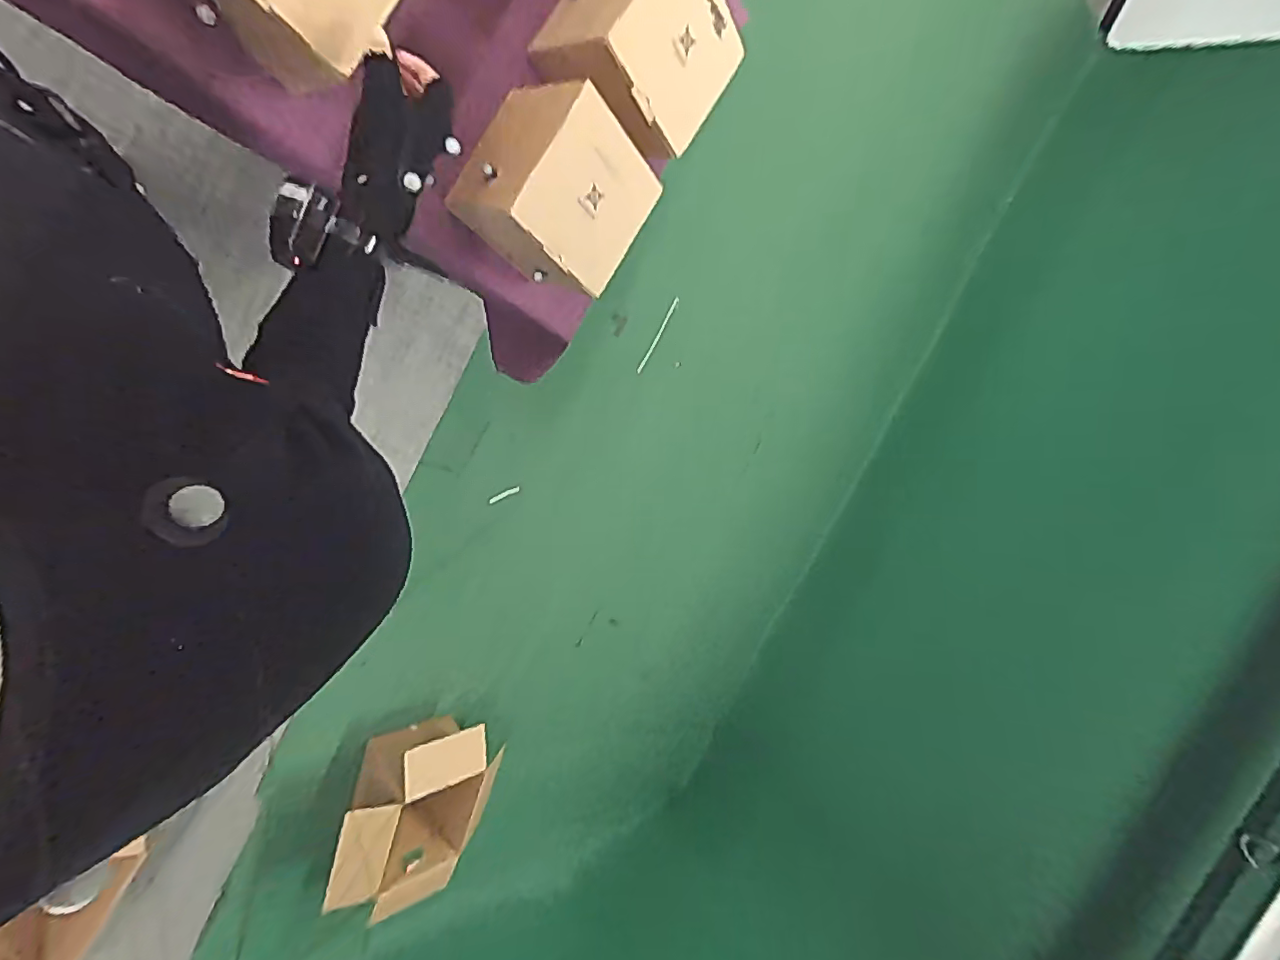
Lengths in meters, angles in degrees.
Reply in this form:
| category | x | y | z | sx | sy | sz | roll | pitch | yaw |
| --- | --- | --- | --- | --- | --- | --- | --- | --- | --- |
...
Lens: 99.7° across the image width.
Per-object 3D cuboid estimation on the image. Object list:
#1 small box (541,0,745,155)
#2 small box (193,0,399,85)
| category | x | y | z | sx | sy | sz | roll | pitch | yaw |
| --- | --- | --- | --- | --- | --- | --- | --- | --- | --- |
| small box | -0.003 | -0.557 | 0.699 | 0.179 | 0.176 | 0.168 | -57 | 141 | -2 |
| small box | -0.298 | -0.470 | 0.444 | 0.168 | 0.176 | 0.179 | 33 | 88 | -50 |
